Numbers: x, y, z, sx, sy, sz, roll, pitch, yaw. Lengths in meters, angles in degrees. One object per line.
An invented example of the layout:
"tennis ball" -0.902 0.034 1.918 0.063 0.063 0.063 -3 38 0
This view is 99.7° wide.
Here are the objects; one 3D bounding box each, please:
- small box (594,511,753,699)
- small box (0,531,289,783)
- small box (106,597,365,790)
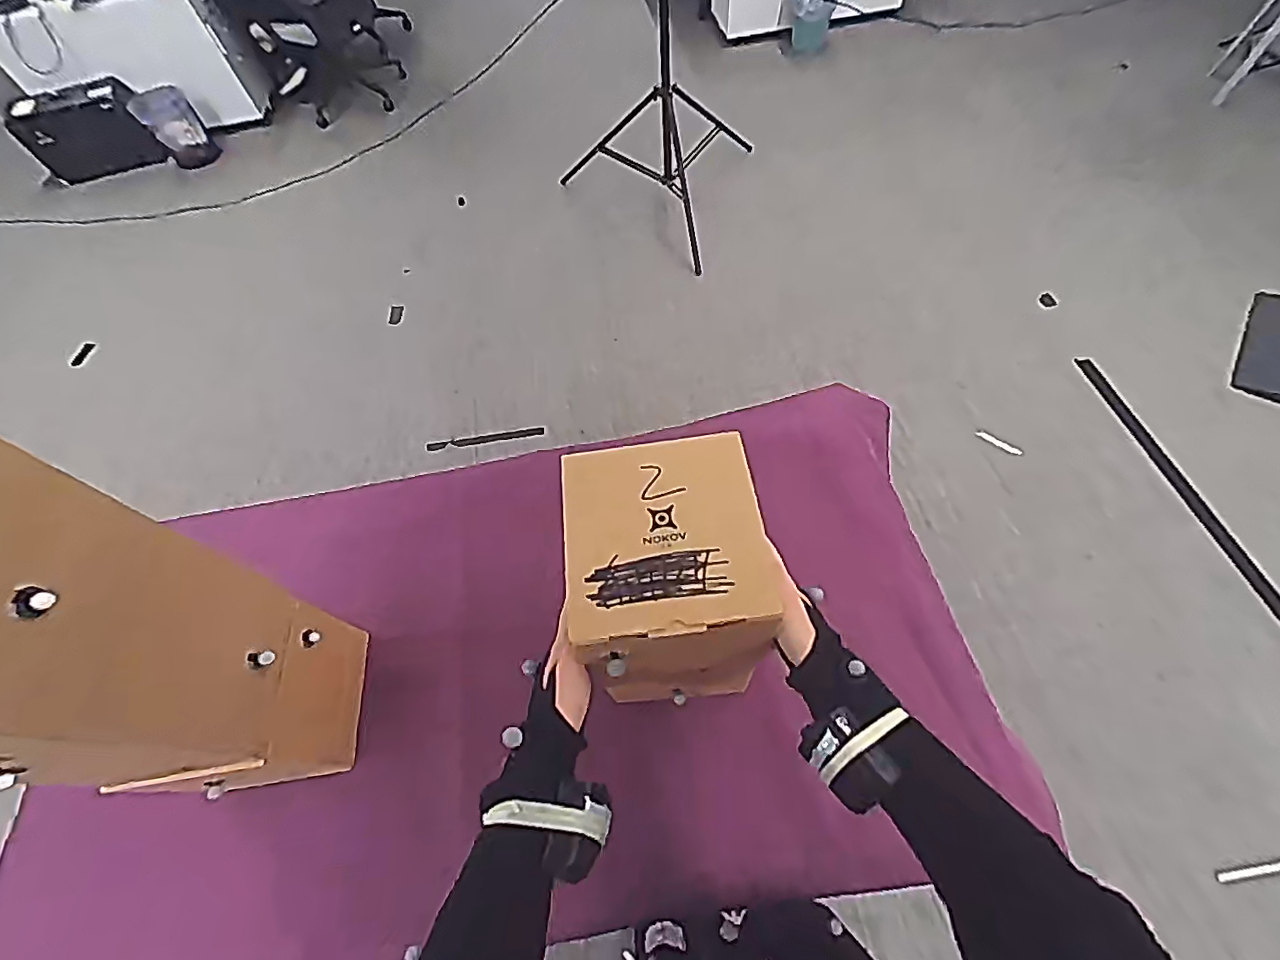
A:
"small box" 0.037 0.158 0.661 0.168 0.176 0.179 -6 59 3
"small box" -0.470 0.172 0.510 0.168 0.176 0.179 -10 58 -1
"small box" -0.456 0.260 0.647 0.168 0.176 0.179 -9 59 0
